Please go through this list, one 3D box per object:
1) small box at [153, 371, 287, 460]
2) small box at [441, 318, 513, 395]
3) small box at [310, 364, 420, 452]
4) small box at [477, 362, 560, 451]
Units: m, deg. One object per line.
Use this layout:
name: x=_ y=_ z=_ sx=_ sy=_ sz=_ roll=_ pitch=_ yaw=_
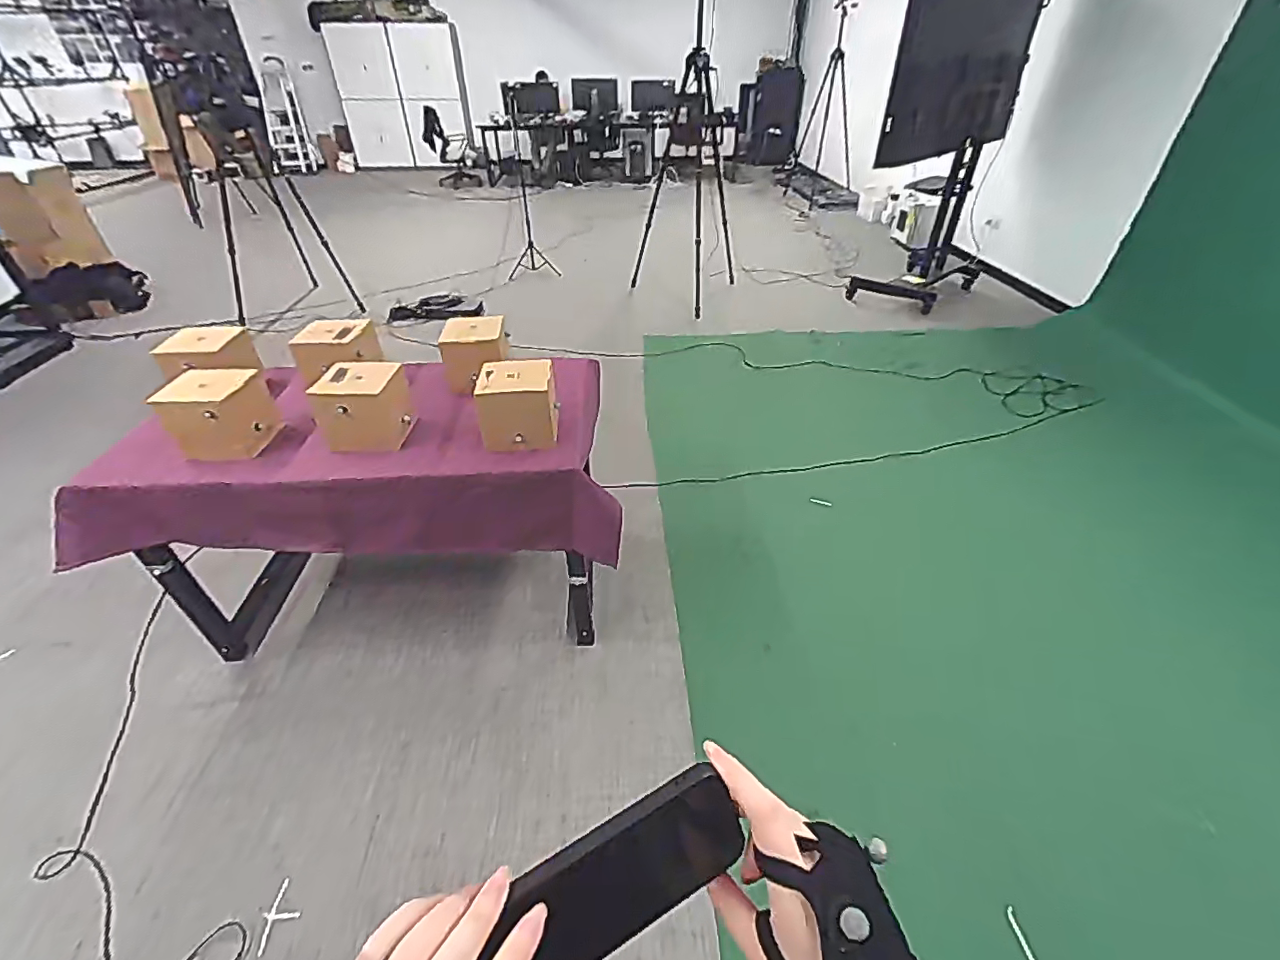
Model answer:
small box: x=-1.042 y=-0.161 z=1.360 sx=0.179 sy=0.176 sz=0.168 roll=0 pitch=38 yaw=-1
small box: x=-0.475 y=-0.369 z=1.611 sx=0.168 sy=0.176 sz=0.179 roll=-4 pitch=39 yaw=-3
small box: x=-0.691 y=-0.184 z=1.381 sx=0.179 sy=0.176 sz=0.168 roll=1 pitch=38 yaw=0
small box: x=-0.300 y=-0.186 z=1.376 sx=0.179 sy=0.176 sz=0.168 roll=-3 pitch=38 yaw=-3
